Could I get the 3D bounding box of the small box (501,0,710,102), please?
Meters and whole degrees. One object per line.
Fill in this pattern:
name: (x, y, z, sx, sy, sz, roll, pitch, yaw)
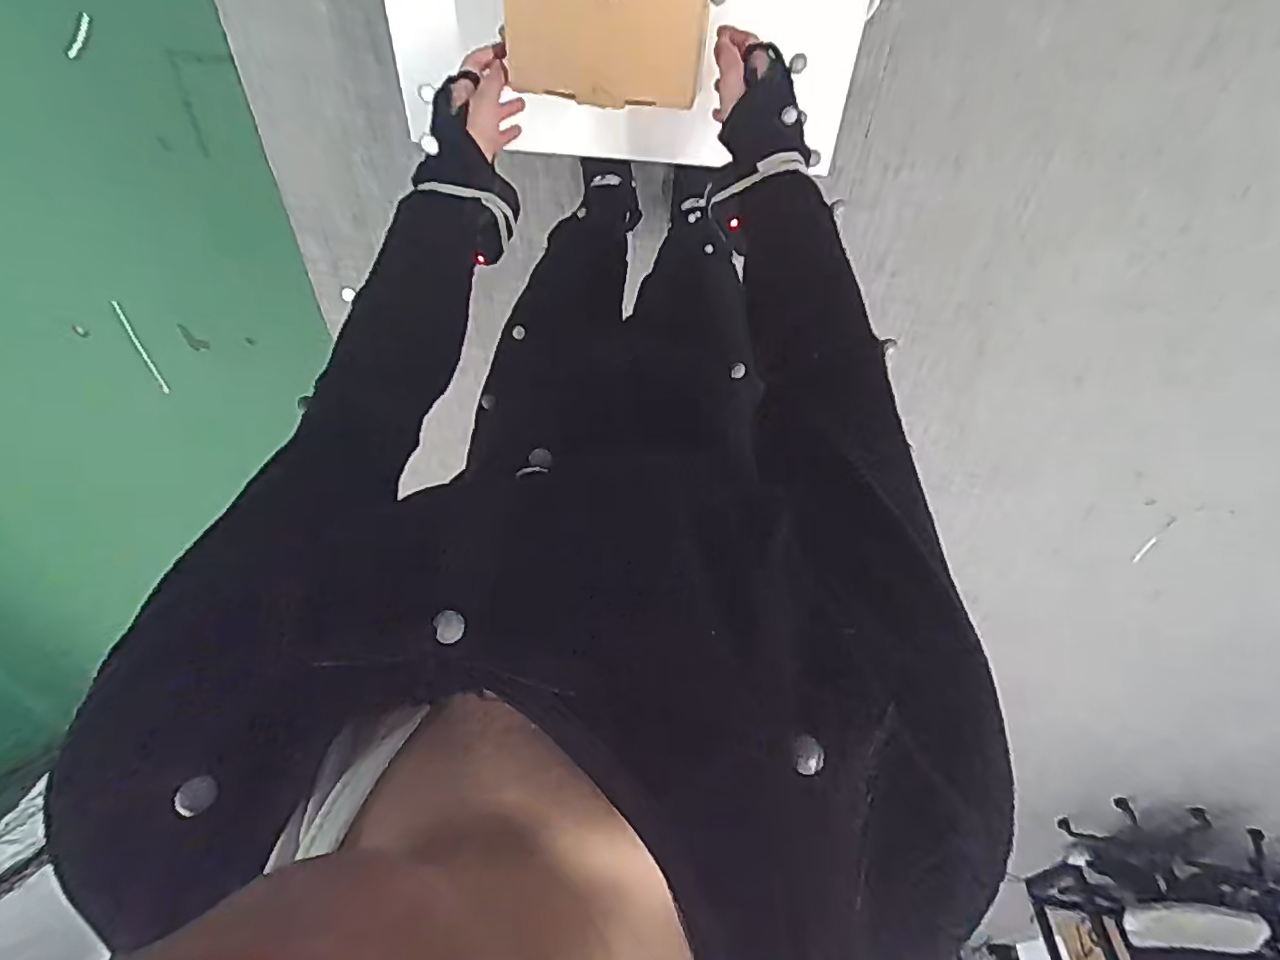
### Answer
small box: (-0.020, -0.452, 0.474, 0.168, 0.176, 0.179, 8, 130, 2)
